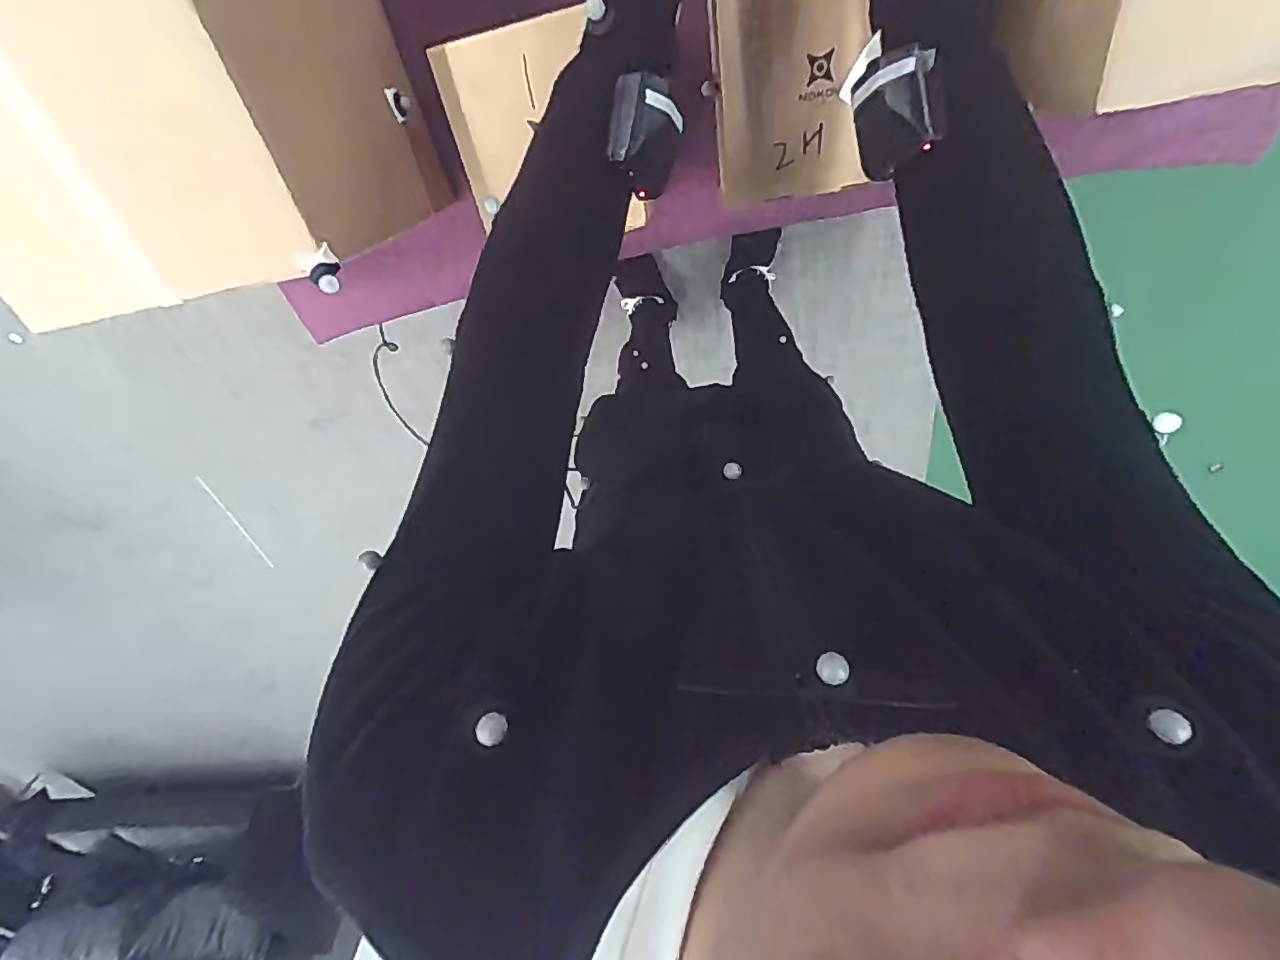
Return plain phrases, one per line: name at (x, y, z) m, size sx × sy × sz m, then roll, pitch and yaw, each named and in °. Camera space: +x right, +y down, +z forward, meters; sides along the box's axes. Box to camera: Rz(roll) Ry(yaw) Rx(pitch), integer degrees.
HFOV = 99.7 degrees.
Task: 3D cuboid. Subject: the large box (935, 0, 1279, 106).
large box at (0.417, -0.507, 0.331) m, size 0.320 × 0.320 × 0.408 m, roll -6°, pitch 126°, yaw 10°
